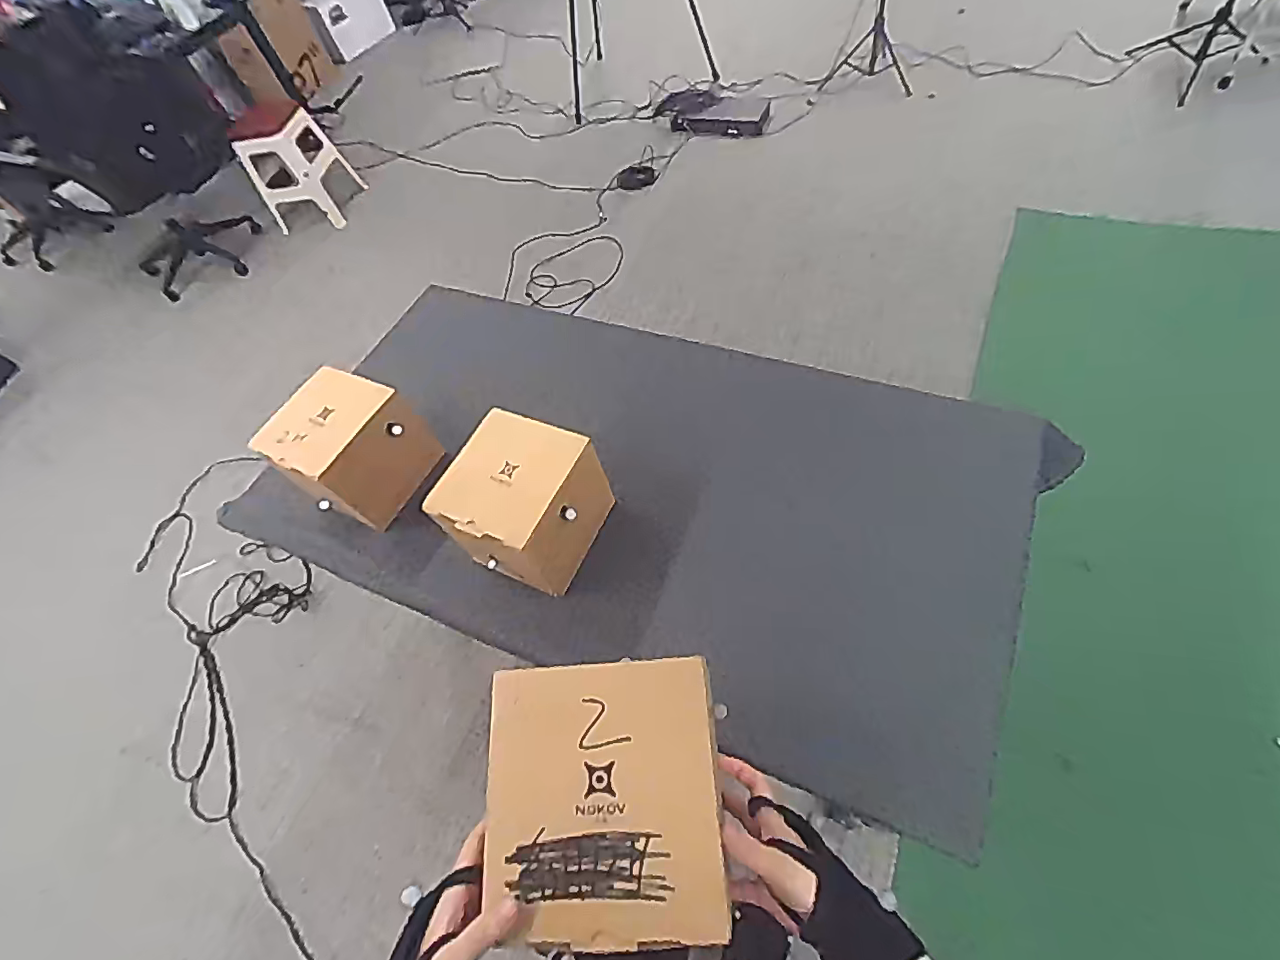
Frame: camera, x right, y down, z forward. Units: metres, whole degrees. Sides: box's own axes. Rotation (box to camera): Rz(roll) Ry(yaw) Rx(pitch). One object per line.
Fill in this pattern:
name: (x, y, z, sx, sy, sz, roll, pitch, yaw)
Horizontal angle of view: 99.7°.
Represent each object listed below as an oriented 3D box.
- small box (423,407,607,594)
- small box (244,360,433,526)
small box: (-0.160, 0.032, 0.764, 0.168, 0.176, 0.179, 20, 63, 20)
small box: (-0.463, -0.057, 0.867, 0.168, 0.176, 0.179, 20, 63, 21)
